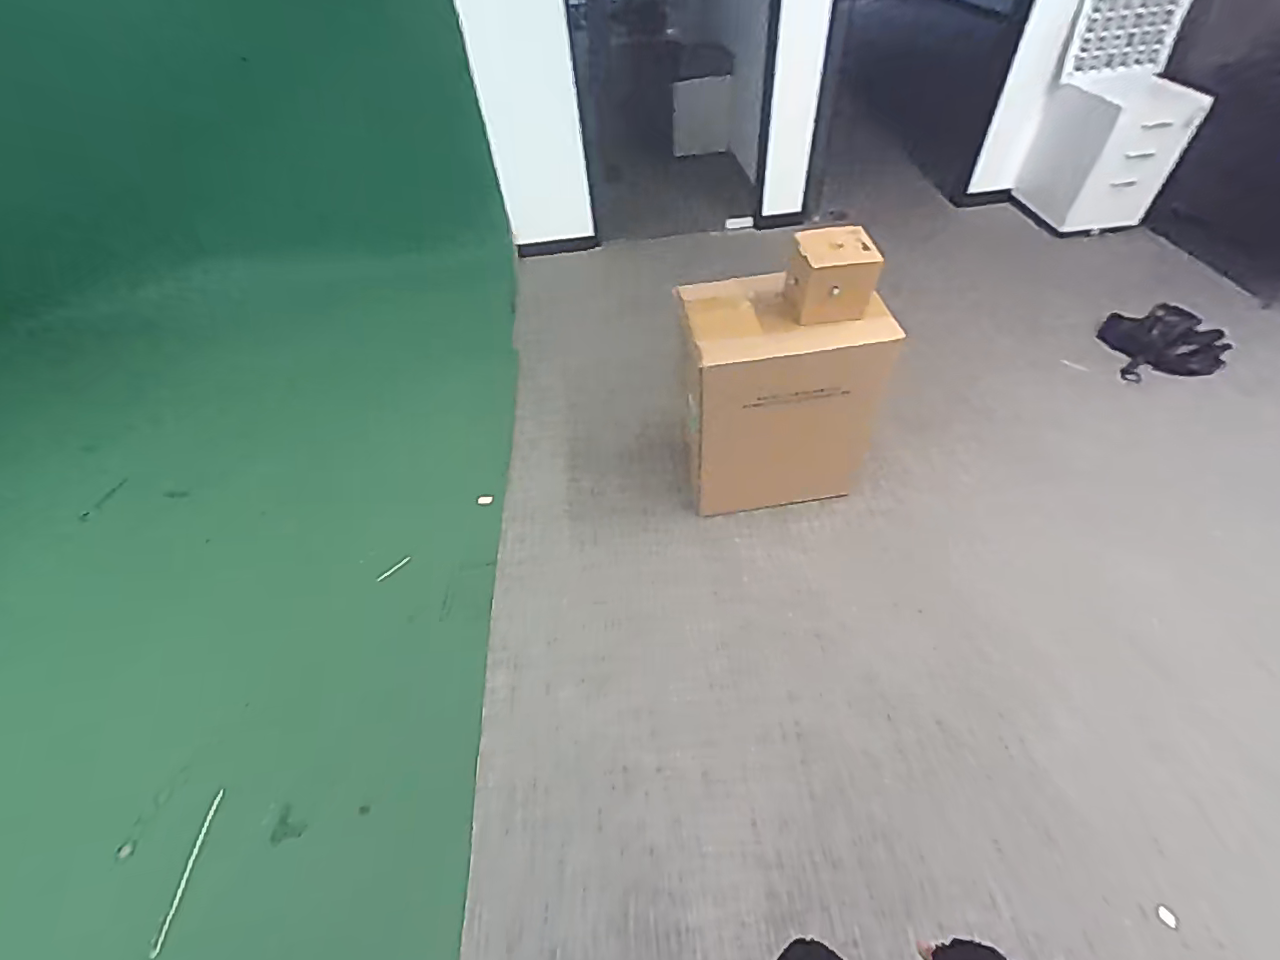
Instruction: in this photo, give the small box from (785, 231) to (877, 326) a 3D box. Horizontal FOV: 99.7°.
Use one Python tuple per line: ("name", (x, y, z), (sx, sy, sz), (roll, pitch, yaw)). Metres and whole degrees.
("small box", (0.485, -0.520, 1.411), (0.179, 0.176, 0.168), (-7, 54, -1))
